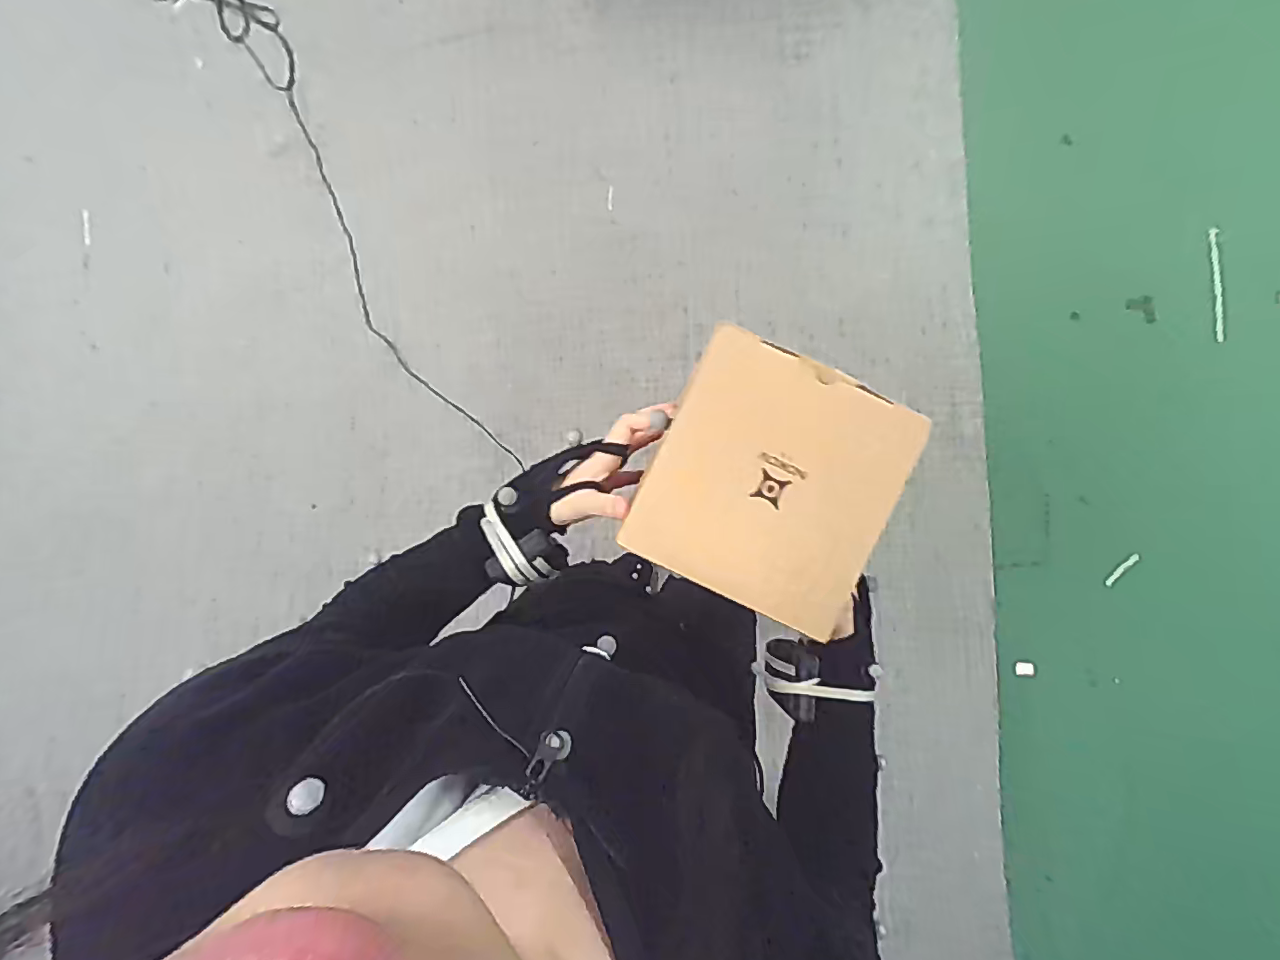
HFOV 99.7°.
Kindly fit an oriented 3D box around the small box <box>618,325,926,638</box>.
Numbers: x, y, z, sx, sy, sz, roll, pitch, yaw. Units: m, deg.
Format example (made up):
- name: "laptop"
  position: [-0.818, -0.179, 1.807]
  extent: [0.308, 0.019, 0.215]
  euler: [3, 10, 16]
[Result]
- name: "small box"
  position: [0.095, 0.000, 0.463]
  extent: [0.168, 0.176, 0.179]
  euler: [26, 91, 0]
